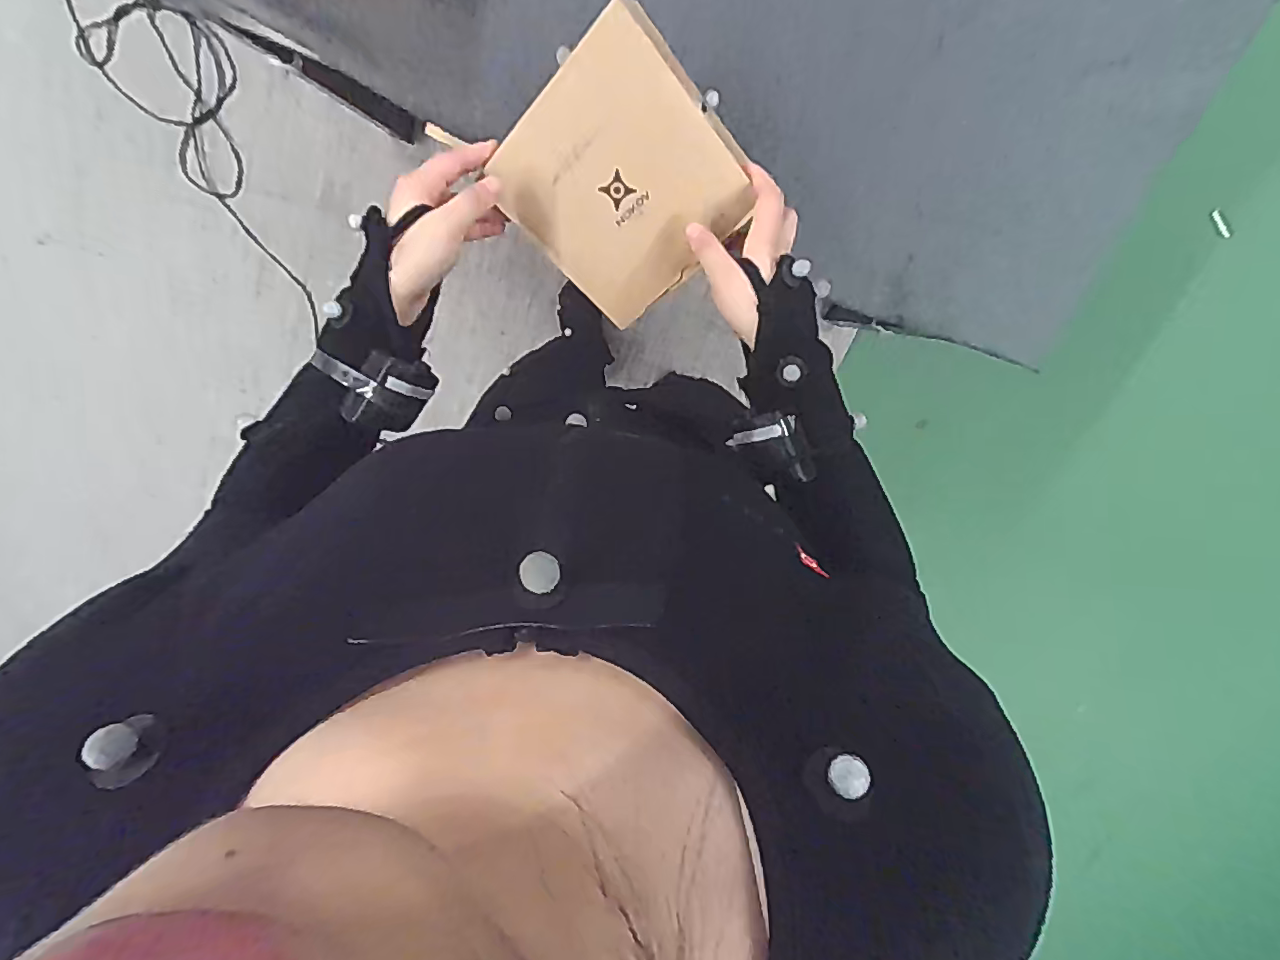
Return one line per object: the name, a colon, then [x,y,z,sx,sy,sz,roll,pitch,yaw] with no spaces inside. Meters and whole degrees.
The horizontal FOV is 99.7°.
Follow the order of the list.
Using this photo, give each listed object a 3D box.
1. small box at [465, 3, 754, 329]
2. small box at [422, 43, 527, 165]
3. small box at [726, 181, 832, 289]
small box: [-0.018,-0.280,0.489,0.168,0.176,0.179,-34,120,28]
small box: [-0.334,-0.772,1.163,0.168,0.176,0.179,25,107,-7]
small box: [0.304,-0.548,1.231,0.168,0.176,0.179,16,108,-6]
